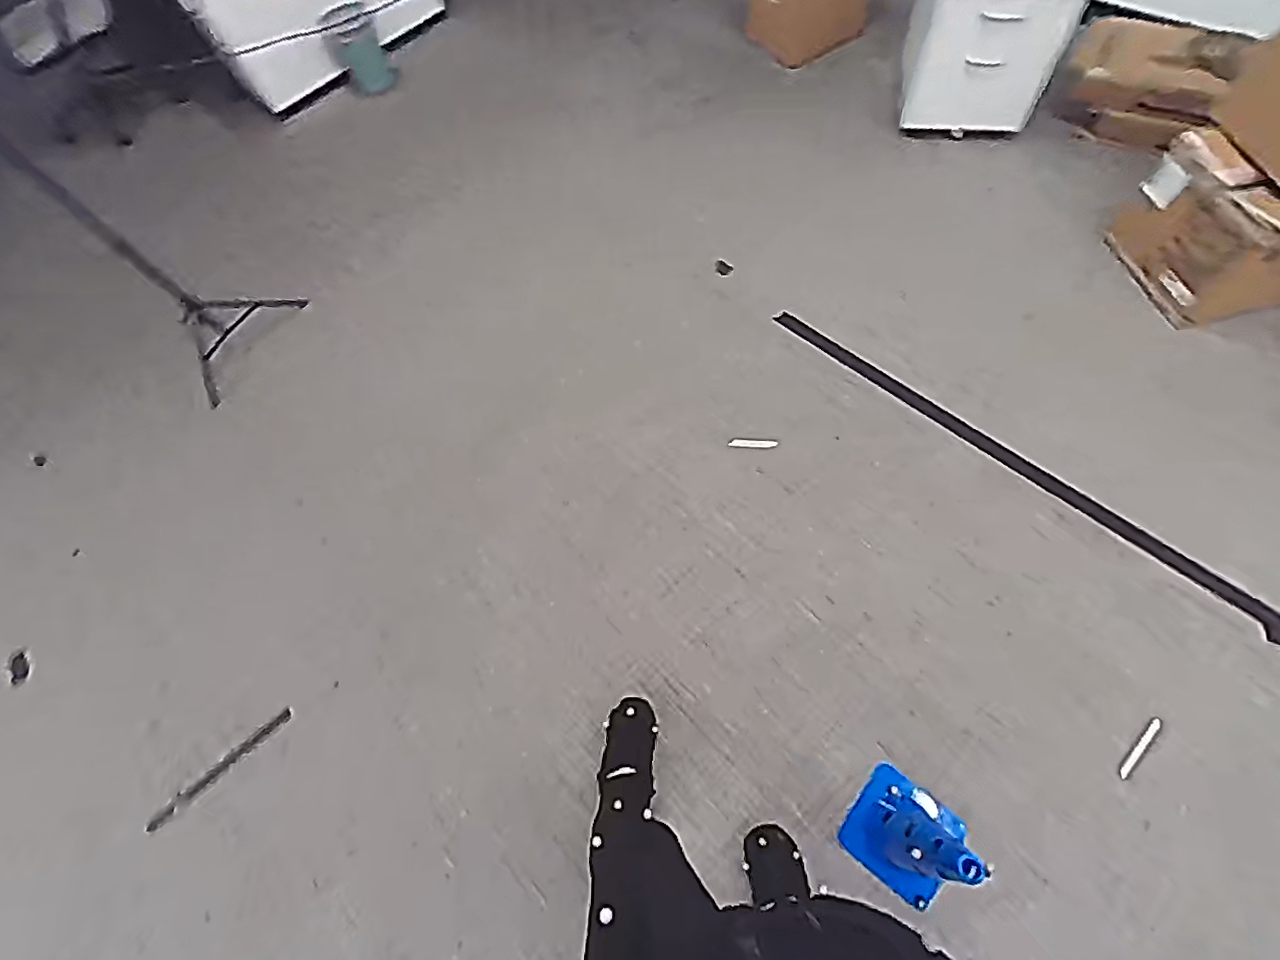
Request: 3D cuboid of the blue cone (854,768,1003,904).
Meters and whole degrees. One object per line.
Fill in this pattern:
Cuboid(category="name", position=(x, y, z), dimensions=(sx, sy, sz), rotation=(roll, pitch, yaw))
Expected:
Cuboid(category="blue cone", position=(0.541, 0.665, 0.981), dimensions=(0.192, 0.380, 0.193), rotation=(36, 74, 21))
